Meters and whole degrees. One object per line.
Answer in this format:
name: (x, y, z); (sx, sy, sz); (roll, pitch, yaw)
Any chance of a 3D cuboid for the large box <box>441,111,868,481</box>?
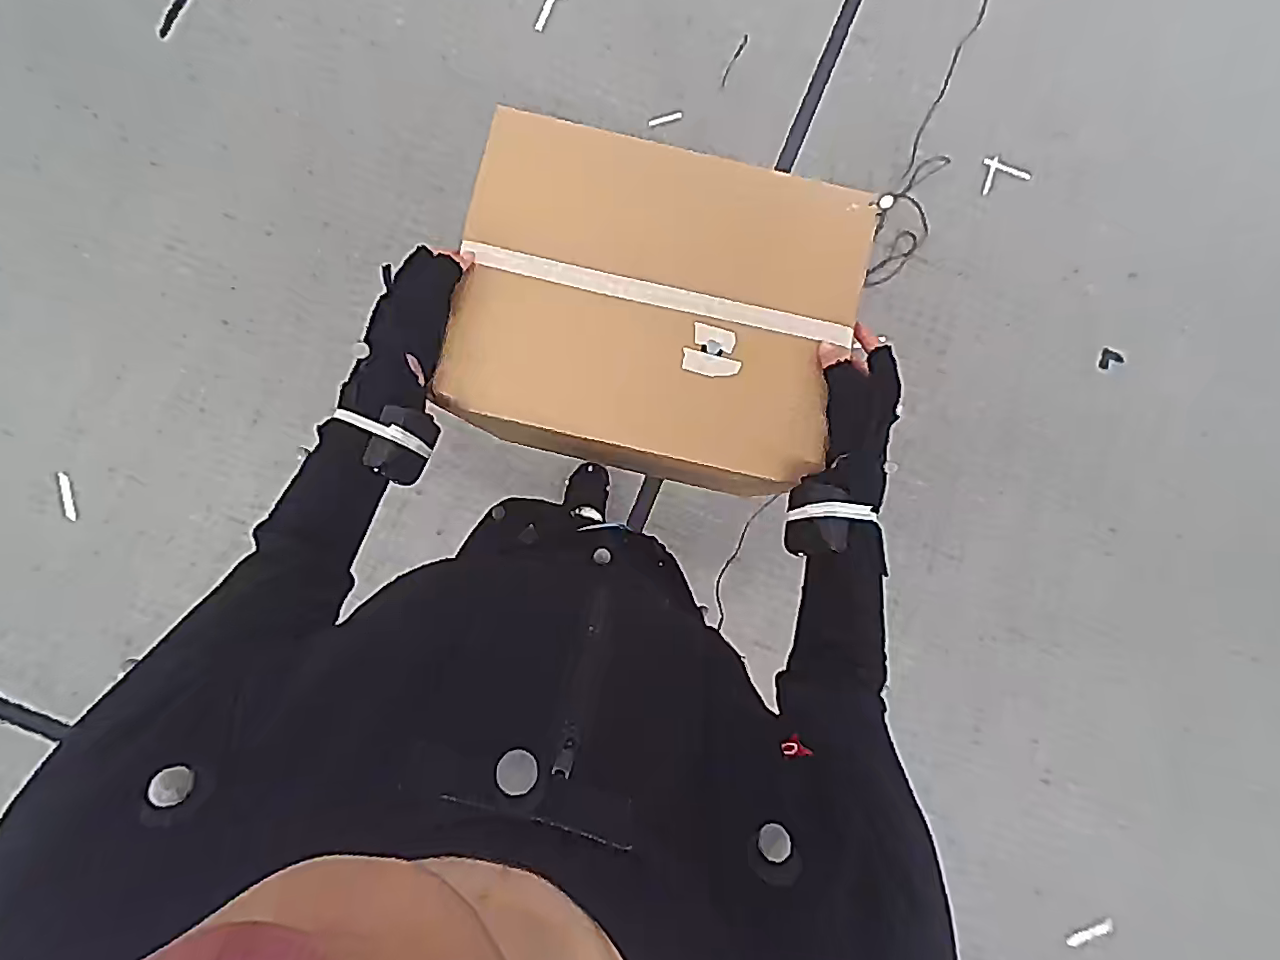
large box: (0.013, -0.193, 0.710); (0.408, 0.320, 0.320); (13, 88, -1)
